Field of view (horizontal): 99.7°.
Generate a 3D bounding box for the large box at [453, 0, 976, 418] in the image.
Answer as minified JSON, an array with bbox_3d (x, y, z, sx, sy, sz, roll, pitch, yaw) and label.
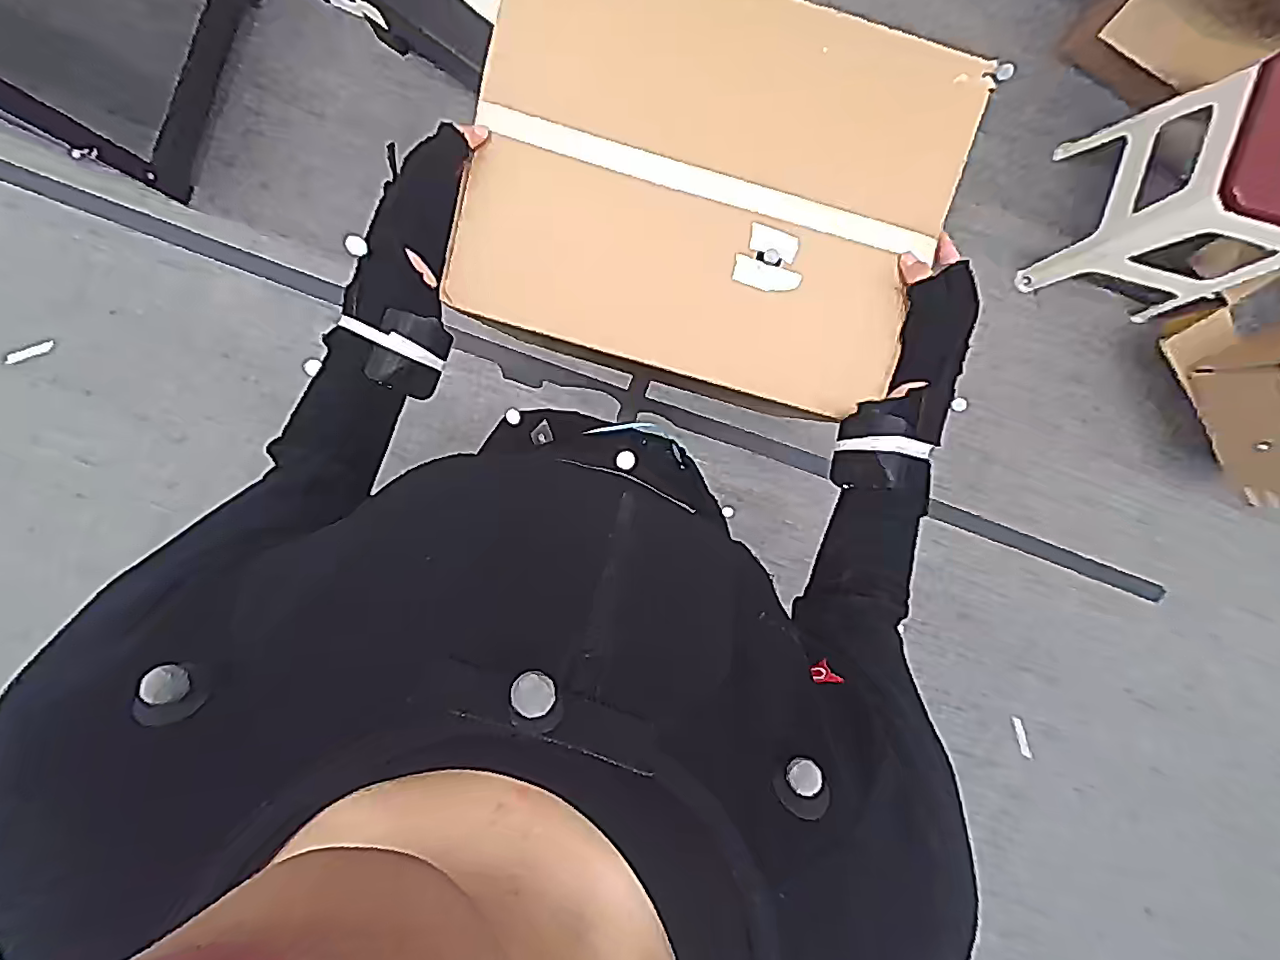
[{"bbox_3d":[0.056,-0.275,0.621,0.408,0.320,0.320,16,99,-4],"label":"large box"}]
